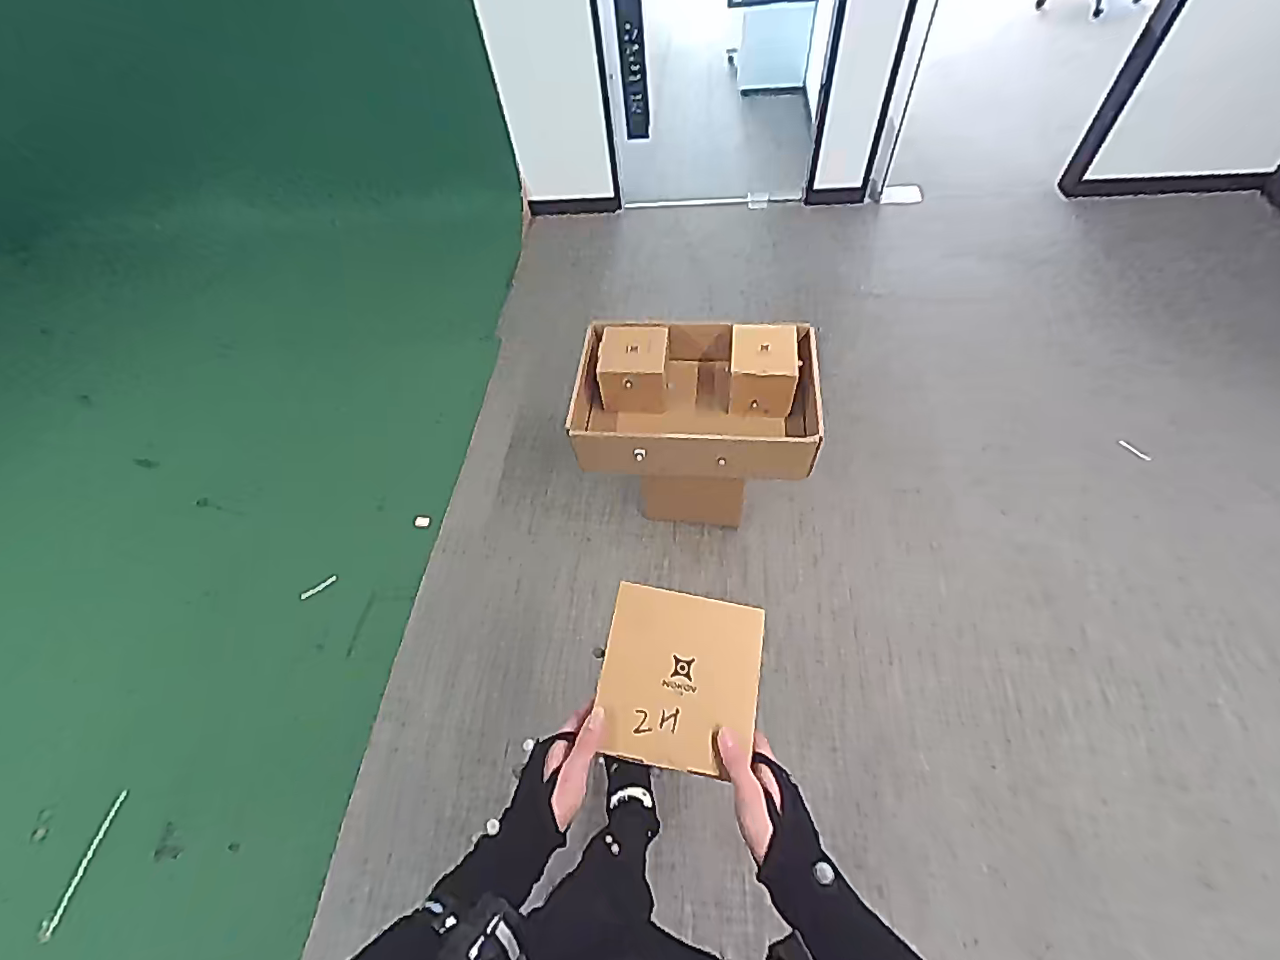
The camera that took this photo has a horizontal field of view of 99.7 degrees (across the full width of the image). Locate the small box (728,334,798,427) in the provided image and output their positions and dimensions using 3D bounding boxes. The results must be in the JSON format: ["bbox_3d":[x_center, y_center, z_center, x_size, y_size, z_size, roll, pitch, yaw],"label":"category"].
[{"bbox_3d":[0.323,-0.265,1.443,0.168,0.176,0.179,4,58,7],"label":"small box"}]

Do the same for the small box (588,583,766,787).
[{"bbox_3d":[0.041,0.241,0.635,0.168,0.176,0.179,11,64,4],"label":"small box"}]
